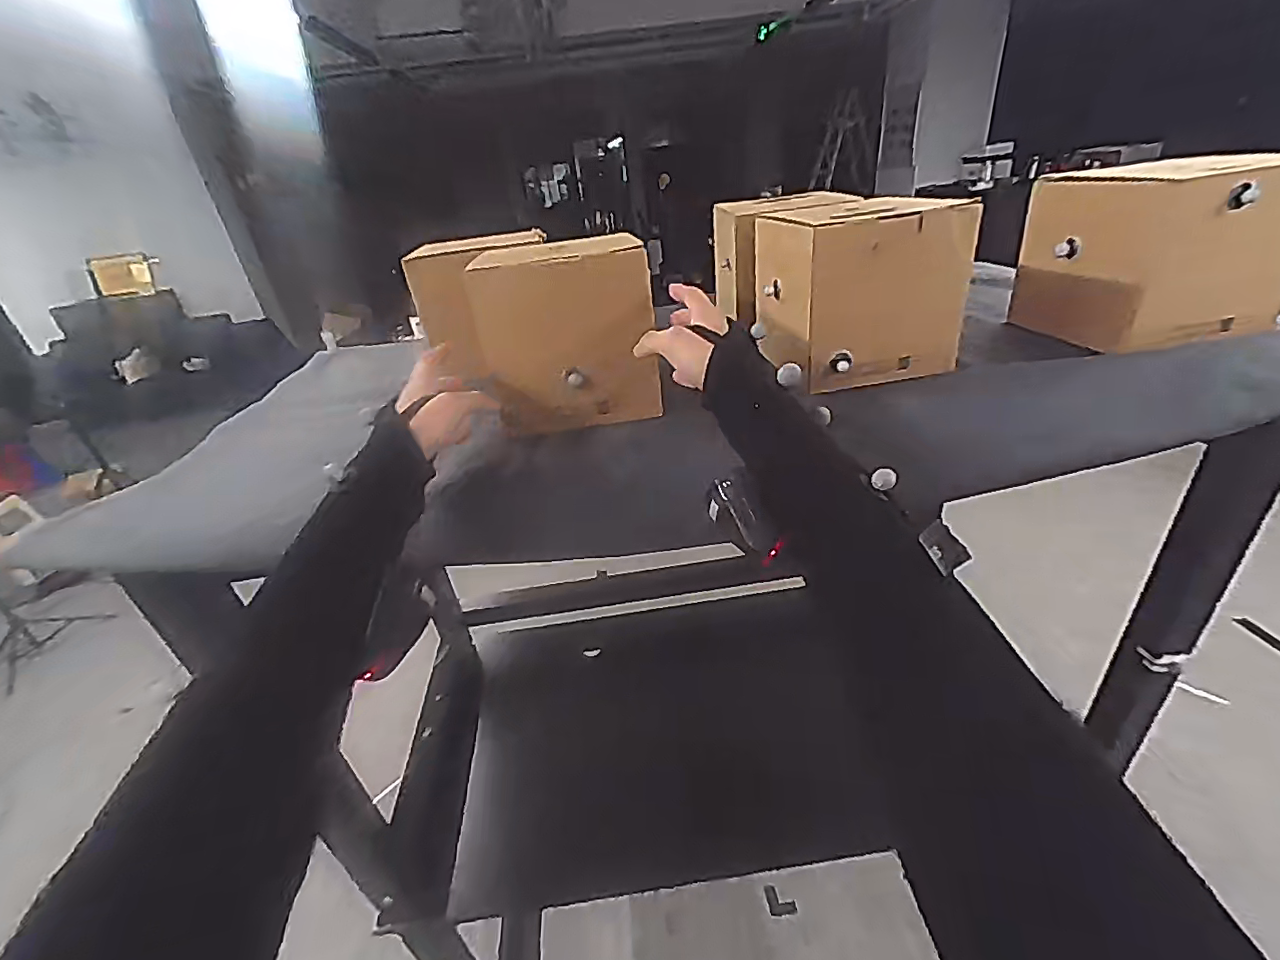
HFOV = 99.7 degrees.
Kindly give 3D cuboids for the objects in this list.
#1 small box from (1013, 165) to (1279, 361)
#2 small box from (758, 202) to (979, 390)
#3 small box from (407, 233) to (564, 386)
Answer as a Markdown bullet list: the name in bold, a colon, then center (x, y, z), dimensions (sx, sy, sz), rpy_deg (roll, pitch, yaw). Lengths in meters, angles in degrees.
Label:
- **small box**: center (0.559, -0.241, 0.599), dimensions (0.168, 0.176, 0.179), rpy_deg (-9, 29, -2)
- **small box**: center (0.241, -0.209, 0.616), dimensions (0.168, 0.176, 0.179), rpy_deg (-9, 29, -4)
- **small box**: center (-0.207, -0.248, 0.781), dimensions (0.179, 0.176, 0.168), rpy_deg (-10, 30, -5)
